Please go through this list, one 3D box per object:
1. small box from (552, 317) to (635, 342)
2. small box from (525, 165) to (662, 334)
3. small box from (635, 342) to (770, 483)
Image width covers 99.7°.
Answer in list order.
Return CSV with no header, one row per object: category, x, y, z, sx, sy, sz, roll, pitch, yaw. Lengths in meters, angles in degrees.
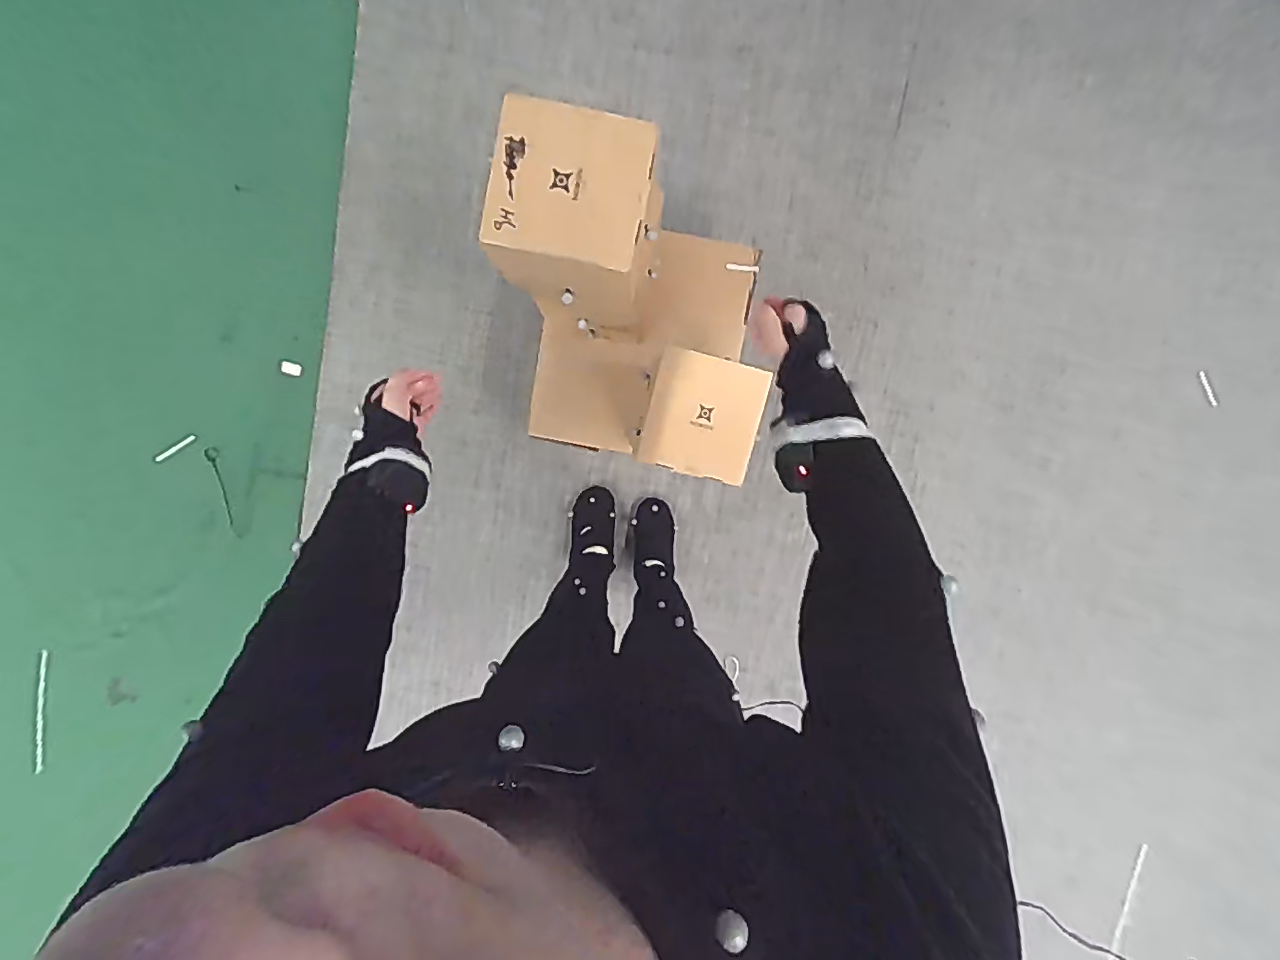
small box,-0.077,-0.372,1.006,0.168,0.176,0.179,10,93,-2
small box,-0.069,-0.345,0.843,0.168,0.176,0.179,13,94,-2
small box,0.089,-0.105,0.870,0.168,0.176,0.179,14,95,-4
